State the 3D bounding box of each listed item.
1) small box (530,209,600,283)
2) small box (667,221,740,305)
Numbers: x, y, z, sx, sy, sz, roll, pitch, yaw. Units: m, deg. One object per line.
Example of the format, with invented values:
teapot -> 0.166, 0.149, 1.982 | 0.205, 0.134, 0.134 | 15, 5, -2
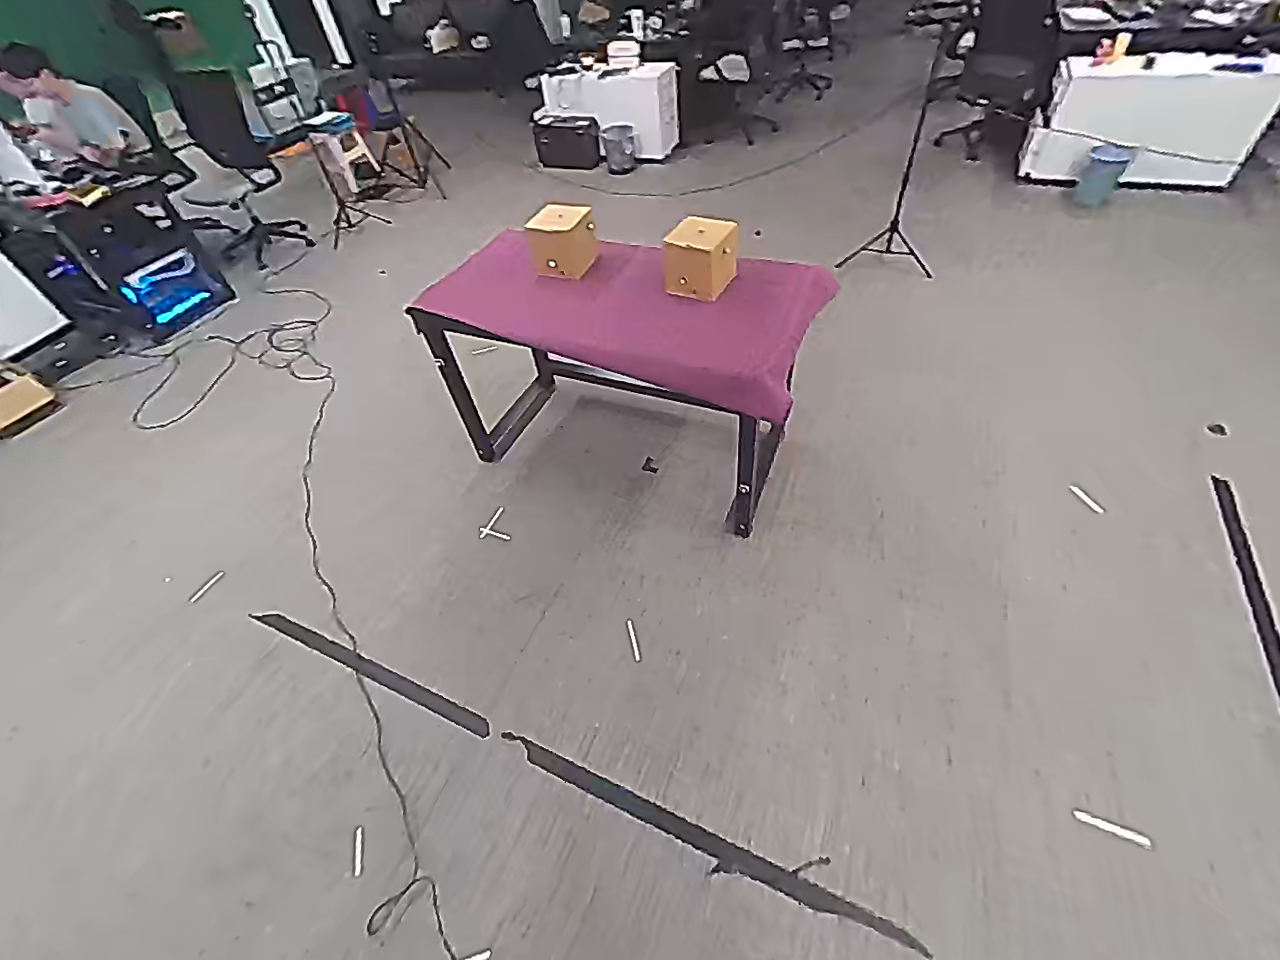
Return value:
small box -> -0.245, -0.793, 1.834 | 0.168, 0.176, 0.179 | 13, 52, 18
small box -> 0.197, -0.670, 1.666 | 0.168, 0.176, 0.179 | 21, 56, 24
